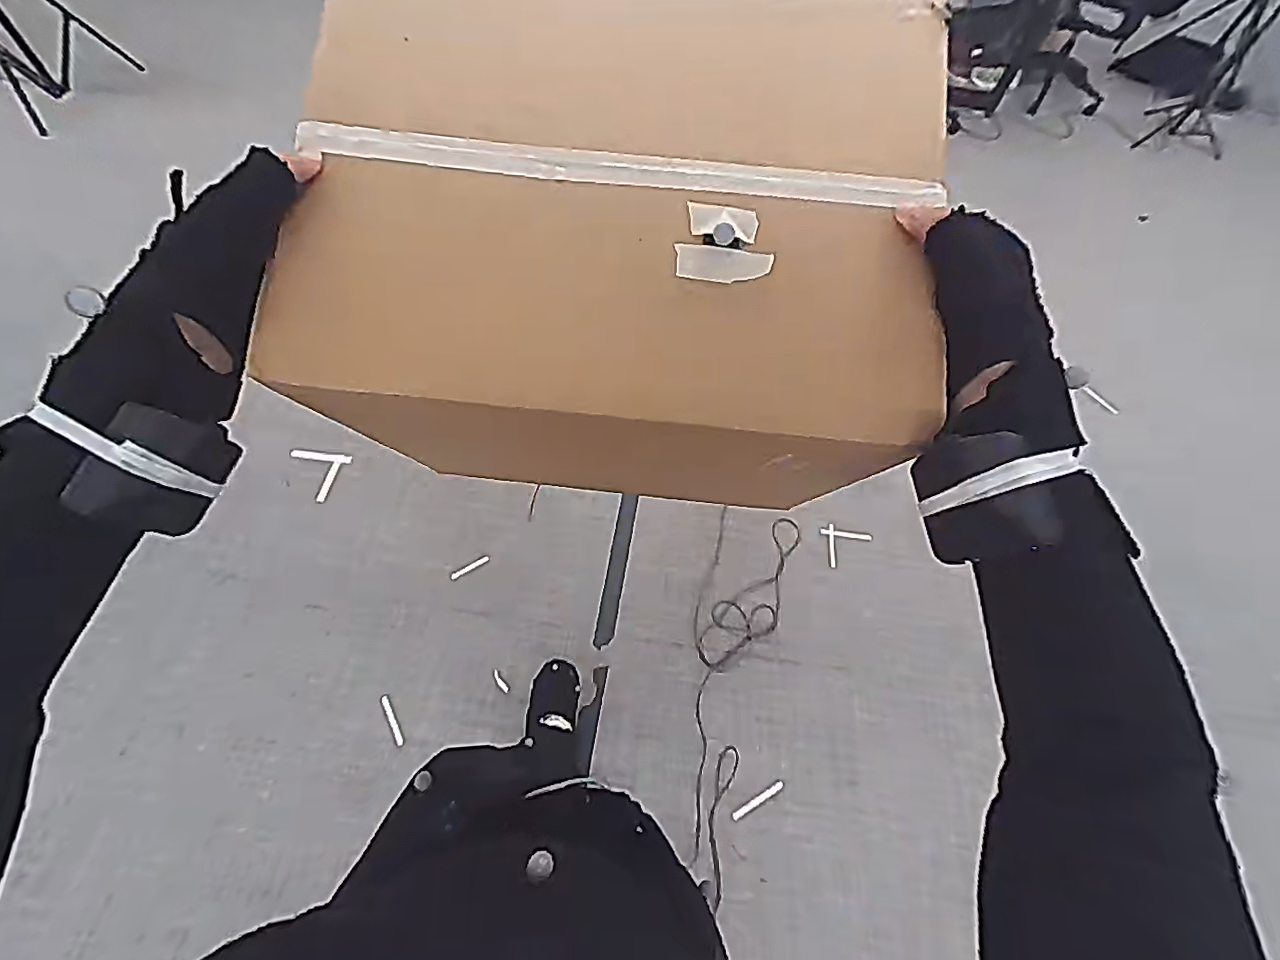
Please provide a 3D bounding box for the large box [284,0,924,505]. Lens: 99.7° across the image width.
[{"bbox_3d":[-0.015,-0.160,0.504,0.408,0.320,0.320,6,82,0],"label":"large box"}]
